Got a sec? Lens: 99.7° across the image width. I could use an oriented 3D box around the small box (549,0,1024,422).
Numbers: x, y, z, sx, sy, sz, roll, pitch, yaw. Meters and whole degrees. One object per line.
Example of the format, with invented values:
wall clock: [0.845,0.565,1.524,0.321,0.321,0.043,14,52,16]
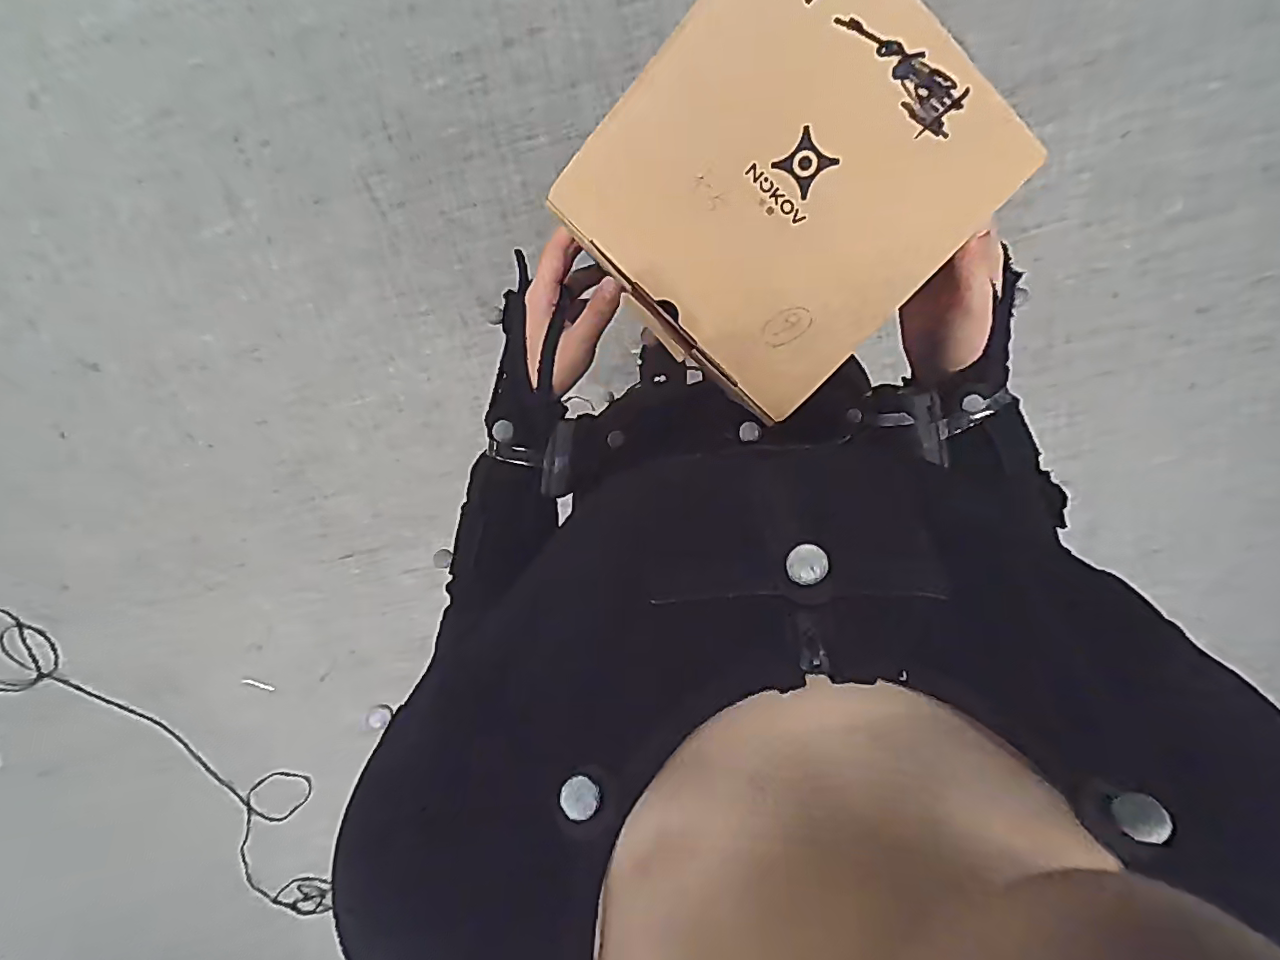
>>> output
small box: [0.074,-0.162,0.345,0.168,0.176,0.179,43,102,-7]
